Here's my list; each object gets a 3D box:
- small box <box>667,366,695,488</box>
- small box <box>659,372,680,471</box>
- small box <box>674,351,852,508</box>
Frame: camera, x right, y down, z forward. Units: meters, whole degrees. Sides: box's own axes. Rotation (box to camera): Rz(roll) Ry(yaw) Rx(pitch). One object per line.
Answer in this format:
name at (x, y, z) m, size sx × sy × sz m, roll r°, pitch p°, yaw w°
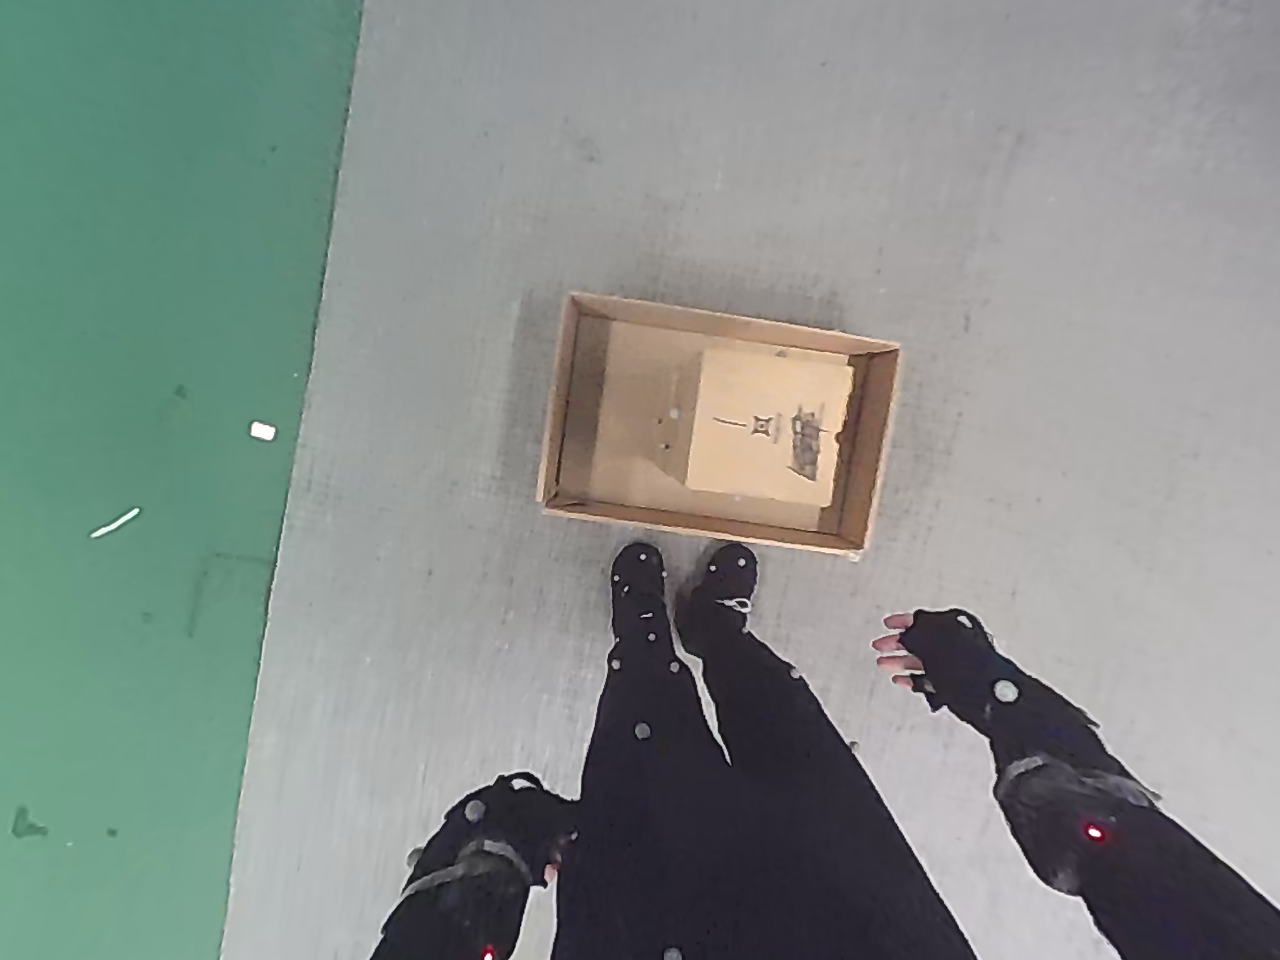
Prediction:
small box at (0.135, -0.078, 0.854) m, size 0.168 × 0.176 × 0.179 m, roll 6°, pitch 97°, yaw -2°
small box at (0.130, -0.101, 1.031) m, size 0.168 × 0.176 × 0.179 m, roll 8°, pitch 96°, yaw -2°
small box at (0.147, -0.066, 0.707) m, size 0.179 × 0.176 × 0.168 m, roll 7°, pitch 96°, yaw -2°
